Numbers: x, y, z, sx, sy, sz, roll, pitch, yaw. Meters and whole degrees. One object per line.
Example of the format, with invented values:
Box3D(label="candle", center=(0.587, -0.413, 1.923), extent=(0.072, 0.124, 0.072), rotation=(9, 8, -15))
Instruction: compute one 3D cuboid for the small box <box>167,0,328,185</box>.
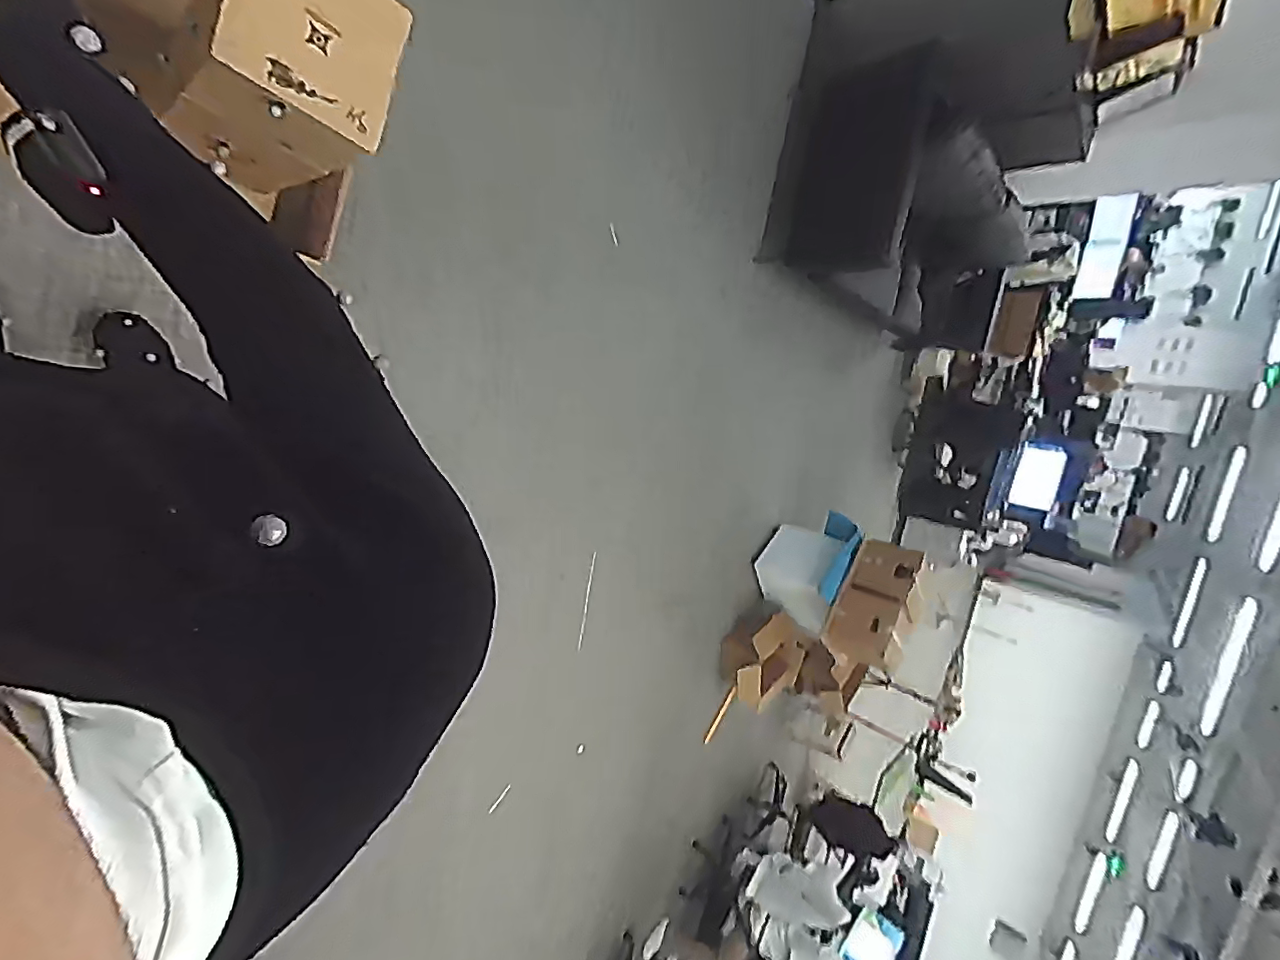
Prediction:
Box3D(label="small box", center=(-0.526, -0.545, 0.752), extent=(0.168, 0.176, 0.179), rotation=(15, 93, -49))

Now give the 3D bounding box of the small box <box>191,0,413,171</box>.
Box3D(label="small box", center=(-0.406, -0.507, 0.647), extent=(0.168, 0.176, 0.179), rotation=(15, 92, -49))

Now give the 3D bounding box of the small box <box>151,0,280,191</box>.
Box3D(label="small box", center=(-0.644, -0.588, 0.857), extent=(0.168, 0.176, 0.179), rotation=(16, 91, -50))
